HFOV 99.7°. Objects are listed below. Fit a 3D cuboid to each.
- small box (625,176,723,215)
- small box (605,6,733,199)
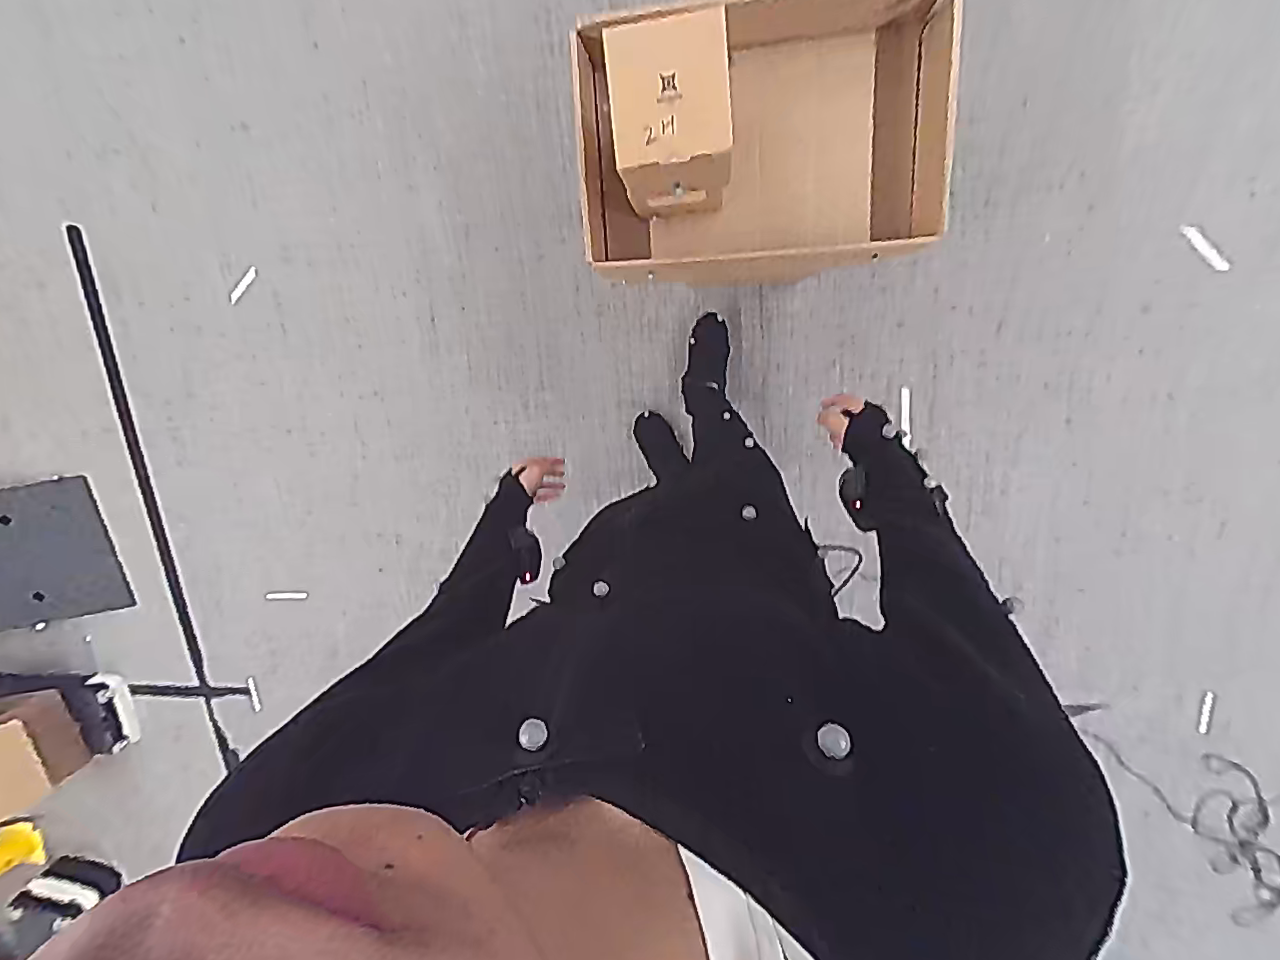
[{"bbox_3d":[0.063,-0.588,0.967,0.168,0.176,0.179,-3,102,8],"label":"small box"},{"bbox_3d":[0.049,-0.546,0.808,0.168,0.176,0.179,-4,103,9],"label":"small box"}]
